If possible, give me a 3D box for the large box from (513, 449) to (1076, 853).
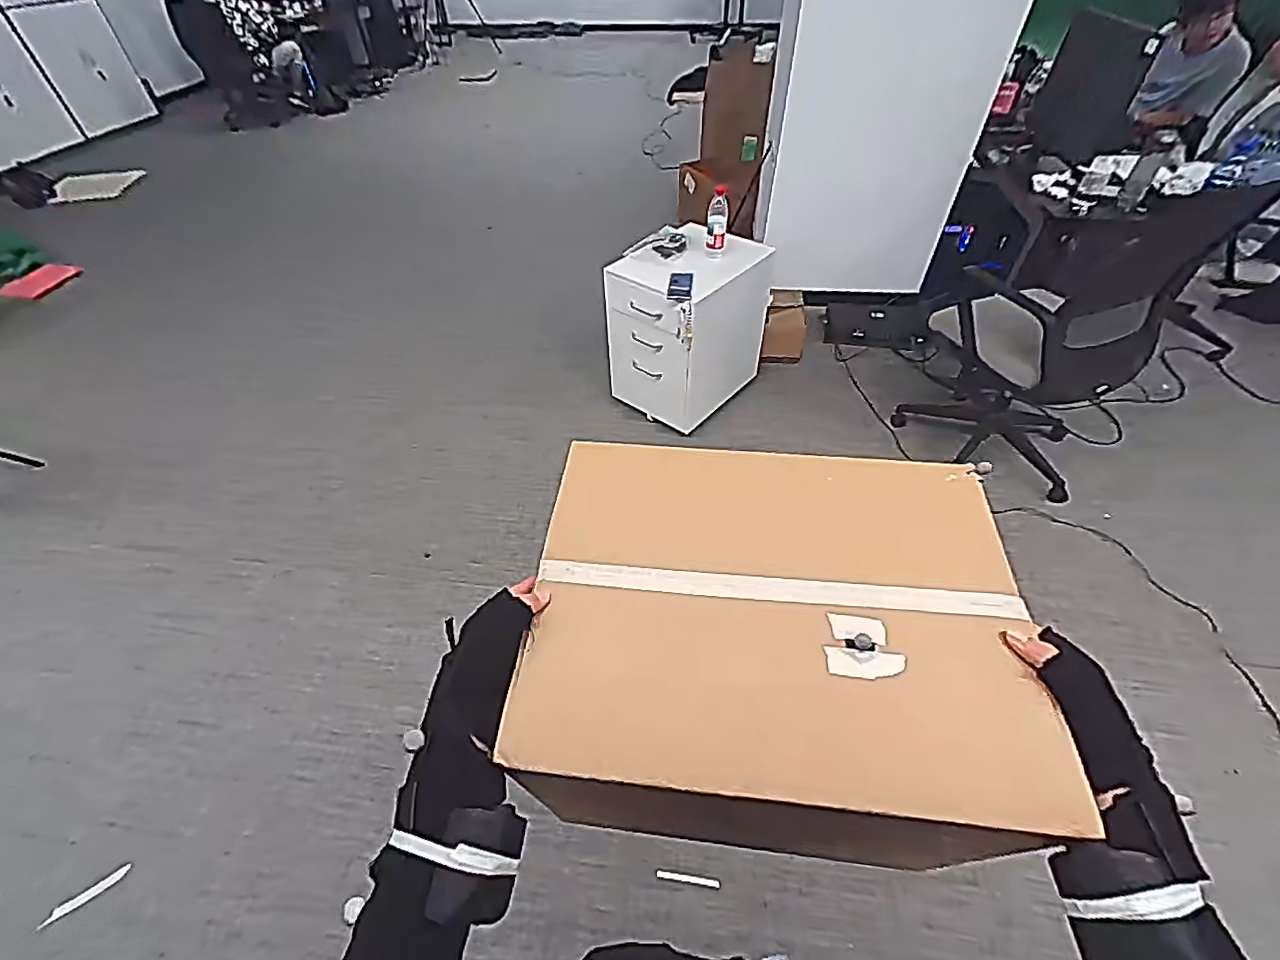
[{"bbox_3d":[0.119,0.189,0.589,0.408,0.320,0.320,4,53,5],"label":"large box"}]
